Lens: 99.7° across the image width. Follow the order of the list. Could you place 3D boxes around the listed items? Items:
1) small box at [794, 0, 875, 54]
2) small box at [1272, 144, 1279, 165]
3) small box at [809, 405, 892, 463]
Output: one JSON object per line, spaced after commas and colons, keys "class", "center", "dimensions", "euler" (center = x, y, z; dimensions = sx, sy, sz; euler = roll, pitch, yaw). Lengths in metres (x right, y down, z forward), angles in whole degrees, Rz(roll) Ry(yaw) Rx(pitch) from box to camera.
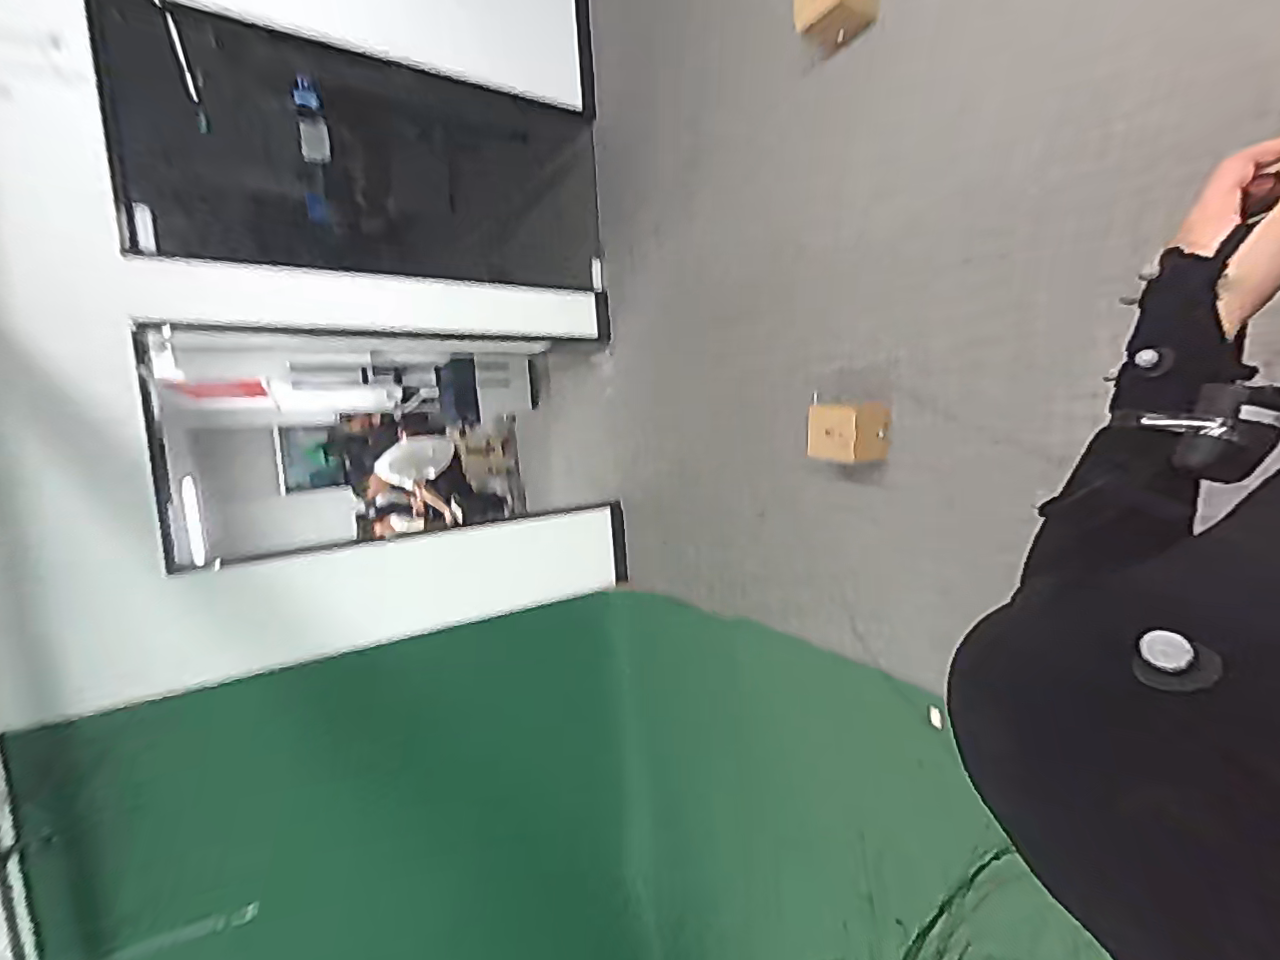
{"class": "small box", "center": [0.573, -1.412, 1.591], "dimensions": [0.168, 0.176, 0.179], "euler": [7, 103, 58]}
{"class": "small box", "center": [0.562, -0.247, 0.330], "dimensions": [0.179, 0.176, 0.168], "euler": [43, 139, 23]}
{"class": "small box", "center": [0.657, -0.149, 1.697], "dimensions": [0.179, 0.176, 0.168], "euler": [15, 109, 57]}
